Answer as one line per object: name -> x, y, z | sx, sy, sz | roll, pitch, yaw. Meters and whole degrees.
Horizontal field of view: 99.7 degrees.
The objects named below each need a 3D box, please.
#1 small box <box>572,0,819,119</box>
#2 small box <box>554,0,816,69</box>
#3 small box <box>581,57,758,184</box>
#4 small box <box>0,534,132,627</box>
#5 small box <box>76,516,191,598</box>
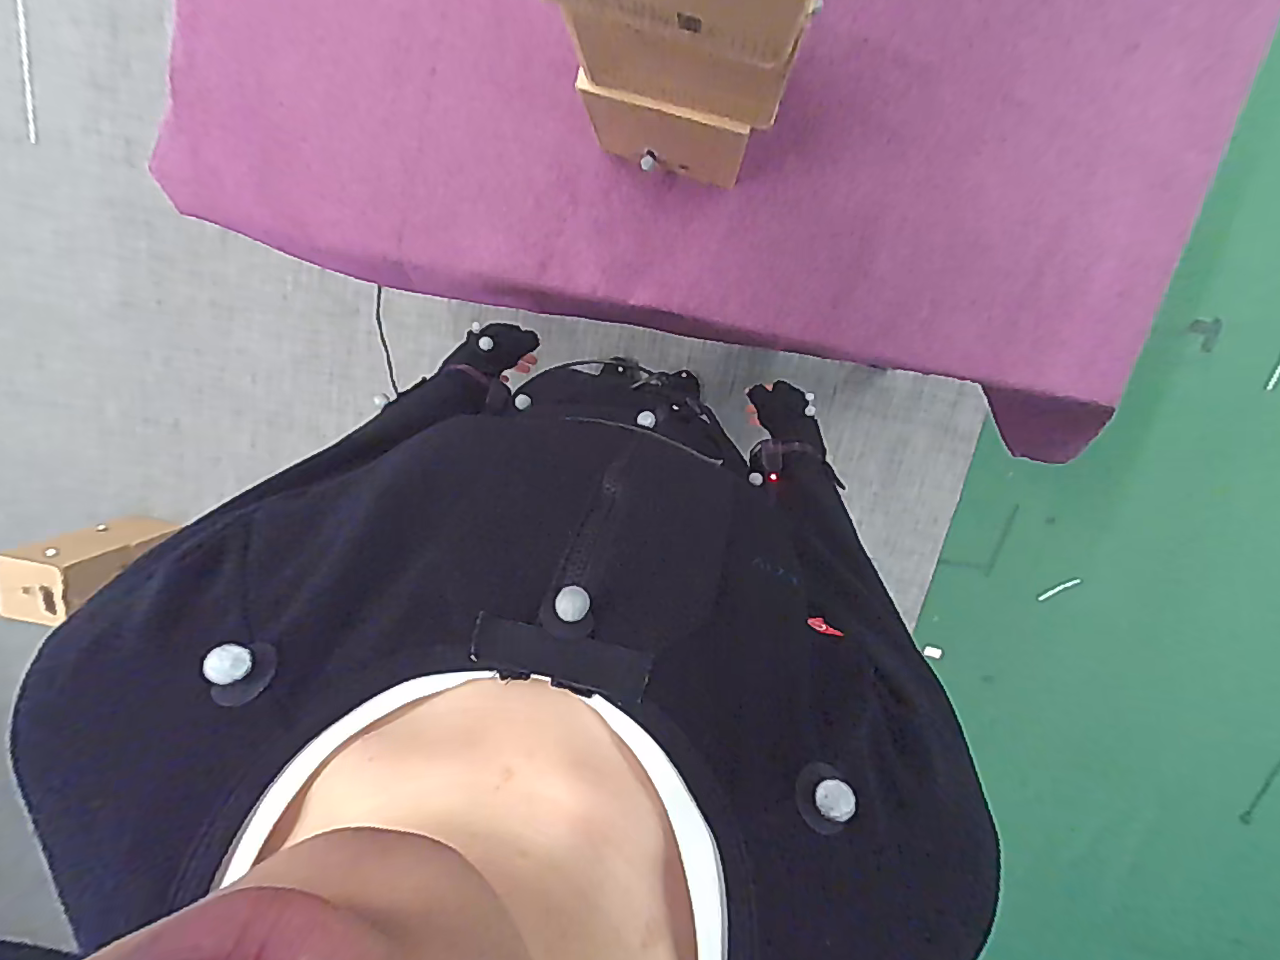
small box -> 0.048, -0.394, 0.386 | 0.179, 0.176, 0.168 | 14, 104, 0
small box -> 0.033, -0.334, 0.232 | 0.168, 0.176, 0.179 | 17, 103, 0
small box -> 0.051, -0.432, 0.543 | 0.168, 0.176, 0.179 | 16, 105, 0
small box -> -1.452, 0.250, 1.381 | 0.179, 0.176, 0.168 | 10, 104, 2
small box -> -1.435, 0.213, 1.540 | 0.179, 0.176, 0.168 | 11, 105, 0
